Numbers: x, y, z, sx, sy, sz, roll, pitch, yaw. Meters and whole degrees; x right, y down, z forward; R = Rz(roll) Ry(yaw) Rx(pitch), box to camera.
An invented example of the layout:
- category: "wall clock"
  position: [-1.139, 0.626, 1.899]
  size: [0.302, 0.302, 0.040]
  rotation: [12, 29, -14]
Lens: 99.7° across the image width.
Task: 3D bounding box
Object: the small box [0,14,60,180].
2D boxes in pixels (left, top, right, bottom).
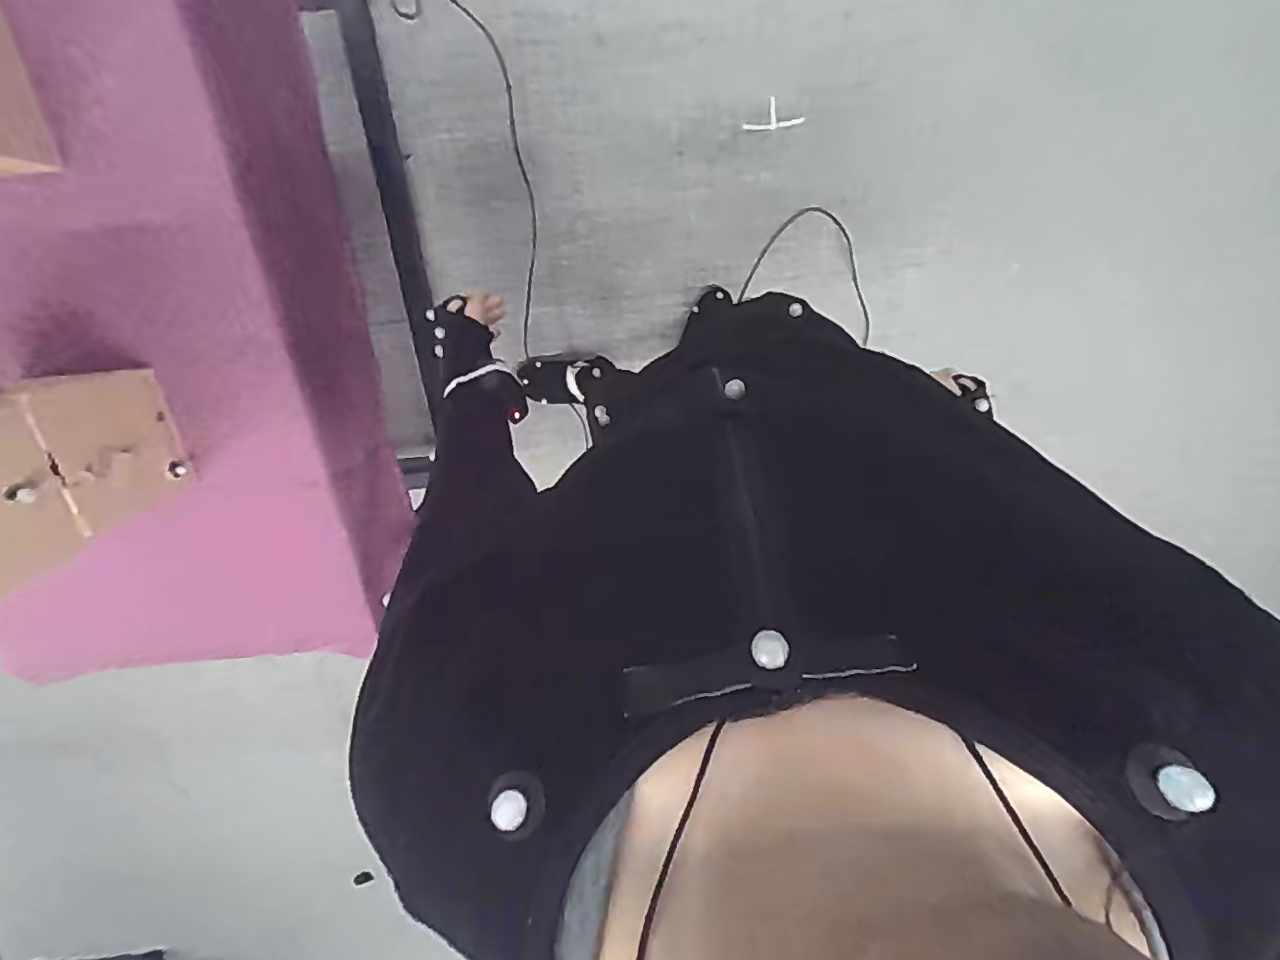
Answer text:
- category: "small box"
  position: [-0.740, -0.397, 0.513]
  size: [0.168, 0.176, 0.179]
  rotation: [-4, 111, 1]

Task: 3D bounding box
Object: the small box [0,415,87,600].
- category: "small box"
  position: [-0.701, 0.037, 0.505]
  size: [0.168, 0.176, 0.179]
  rotation: [-4, 110, 1]

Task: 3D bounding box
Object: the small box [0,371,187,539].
- category: "small box"
  position: [-0.706, -0.032, 0.655]
  size: [0.179, 0.176, 0.168]
  rotation: [-5, 110, 2]
